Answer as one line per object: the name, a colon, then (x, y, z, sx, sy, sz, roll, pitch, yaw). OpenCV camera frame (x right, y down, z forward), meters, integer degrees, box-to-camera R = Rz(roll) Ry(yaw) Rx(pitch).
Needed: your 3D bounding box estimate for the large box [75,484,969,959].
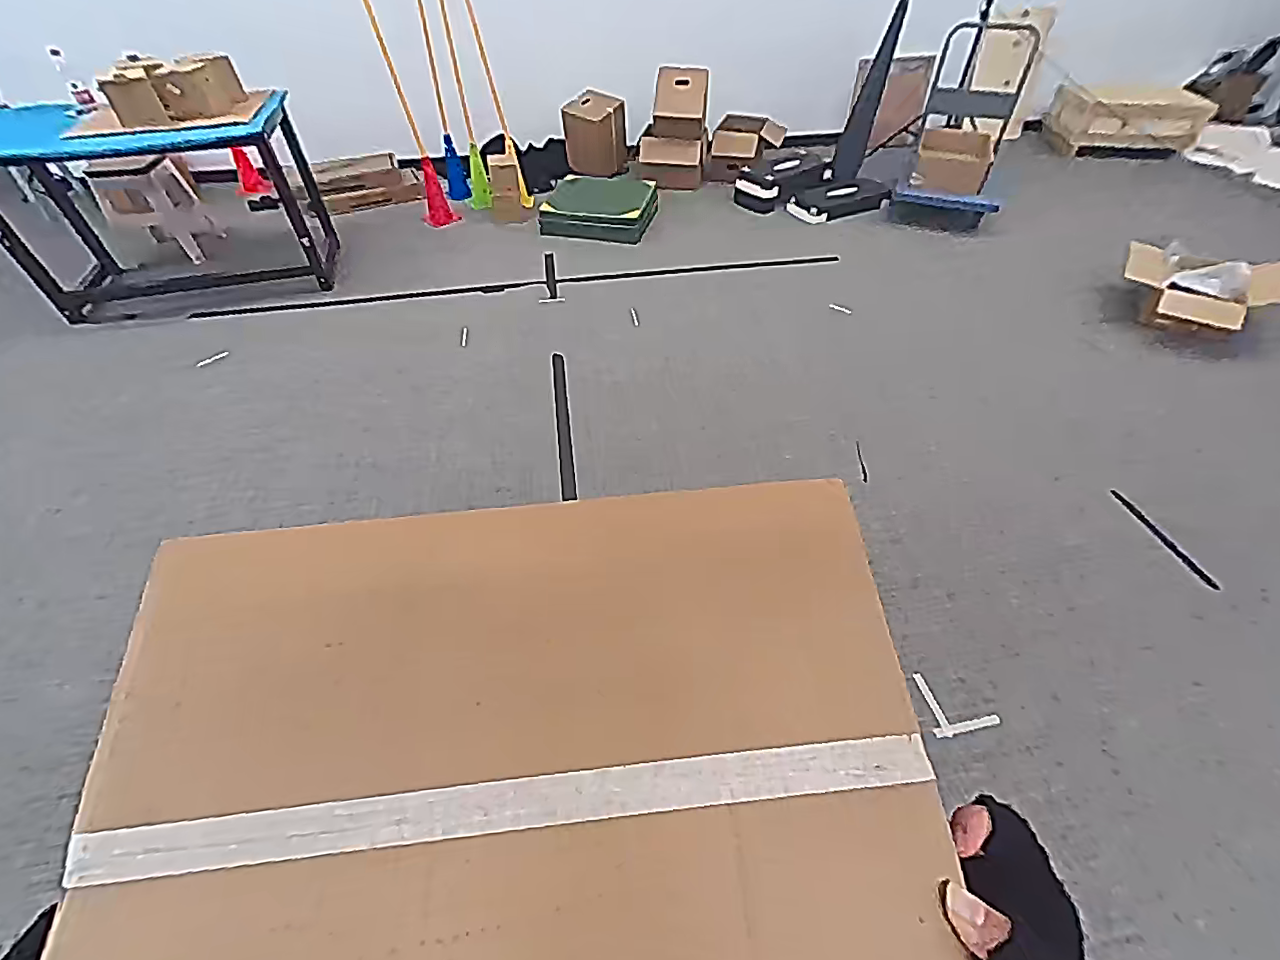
large box: (-0.059, 0.224, 0.403, 0.408, 0.320, 0.320, -5, 65, -3)
